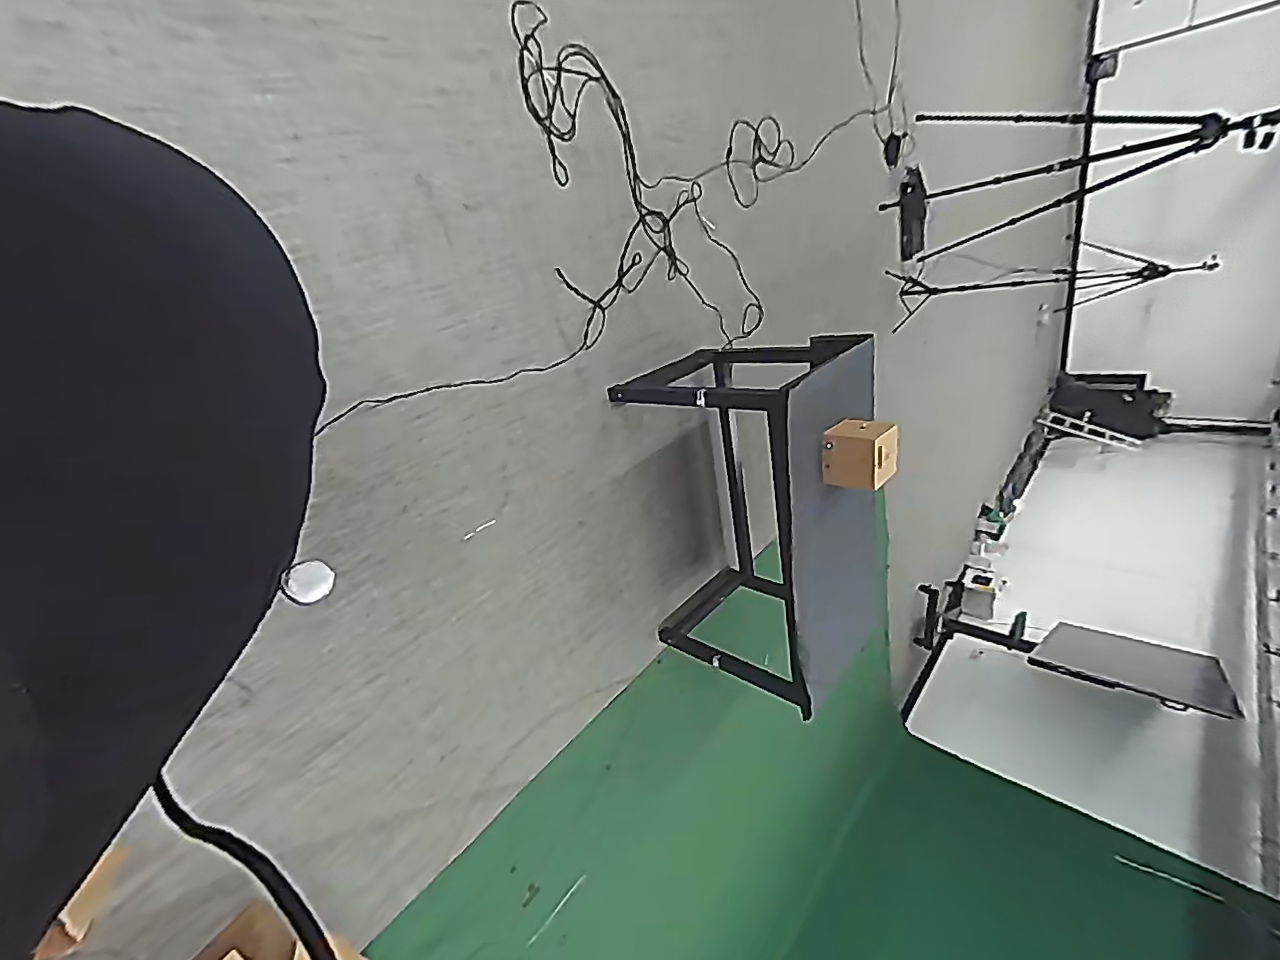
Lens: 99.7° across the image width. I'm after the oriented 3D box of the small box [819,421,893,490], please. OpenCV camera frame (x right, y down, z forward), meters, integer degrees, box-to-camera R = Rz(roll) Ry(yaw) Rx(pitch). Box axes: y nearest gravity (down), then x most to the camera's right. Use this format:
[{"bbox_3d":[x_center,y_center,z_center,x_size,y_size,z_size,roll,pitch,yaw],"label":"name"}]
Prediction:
[{"bbox_3d":[0.674,-0.081,1.693,0.179,0.176,0.168,-26,117,-41],"label":"small box"}]
